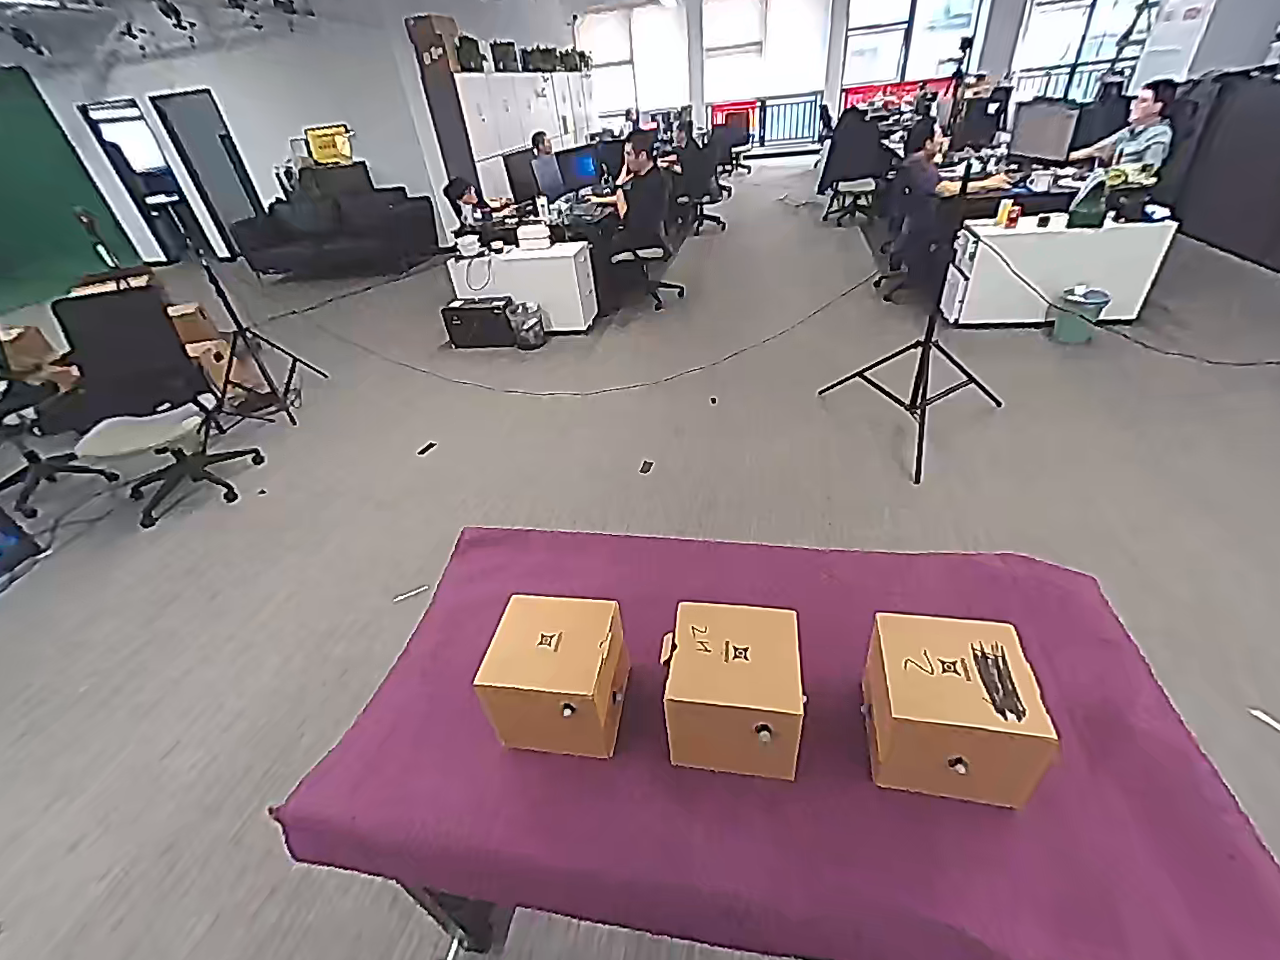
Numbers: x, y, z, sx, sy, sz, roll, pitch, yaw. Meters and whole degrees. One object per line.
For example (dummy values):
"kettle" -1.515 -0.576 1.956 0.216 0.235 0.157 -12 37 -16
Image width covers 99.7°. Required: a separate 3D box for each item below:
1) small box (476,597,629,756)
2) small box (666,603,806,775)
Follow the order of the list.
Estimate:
"small box" -0.122 0.302 0.835 0.179 0.176 0.168 1 36 10
"small box" 0.140 0.303 0.786 0.179 0.176 0.168 1 36 12
